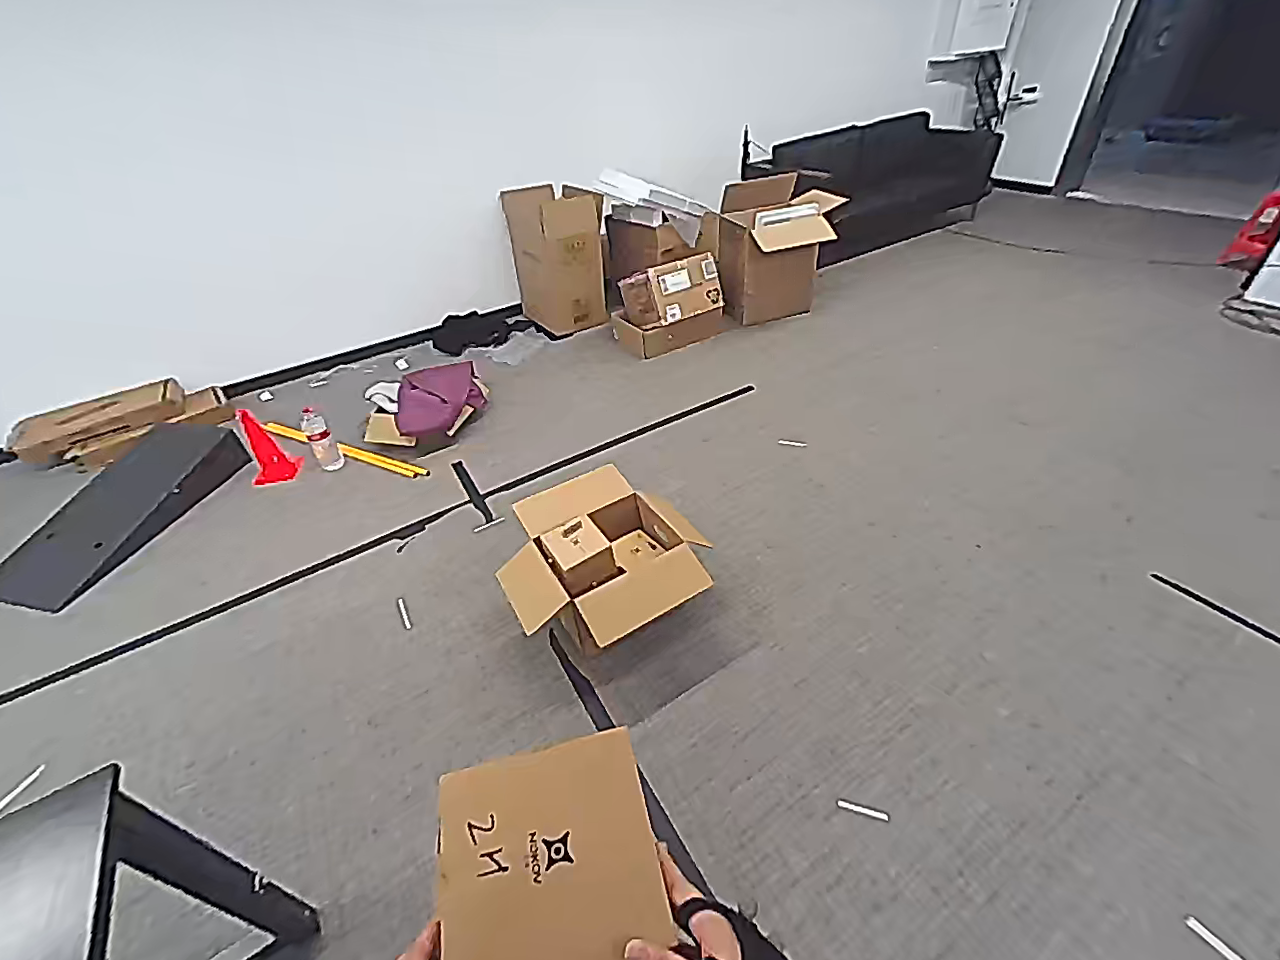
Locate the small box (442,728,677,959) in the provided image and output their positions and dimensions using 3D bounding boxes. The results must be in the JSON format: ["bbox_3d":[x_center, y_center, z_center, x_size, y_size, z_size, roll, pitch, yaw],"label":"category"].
[{"bbox_3d":[-0.074,0.362,0.504,0.179,0.176,0.168,-12,46,-9],"label":"small box"}]
